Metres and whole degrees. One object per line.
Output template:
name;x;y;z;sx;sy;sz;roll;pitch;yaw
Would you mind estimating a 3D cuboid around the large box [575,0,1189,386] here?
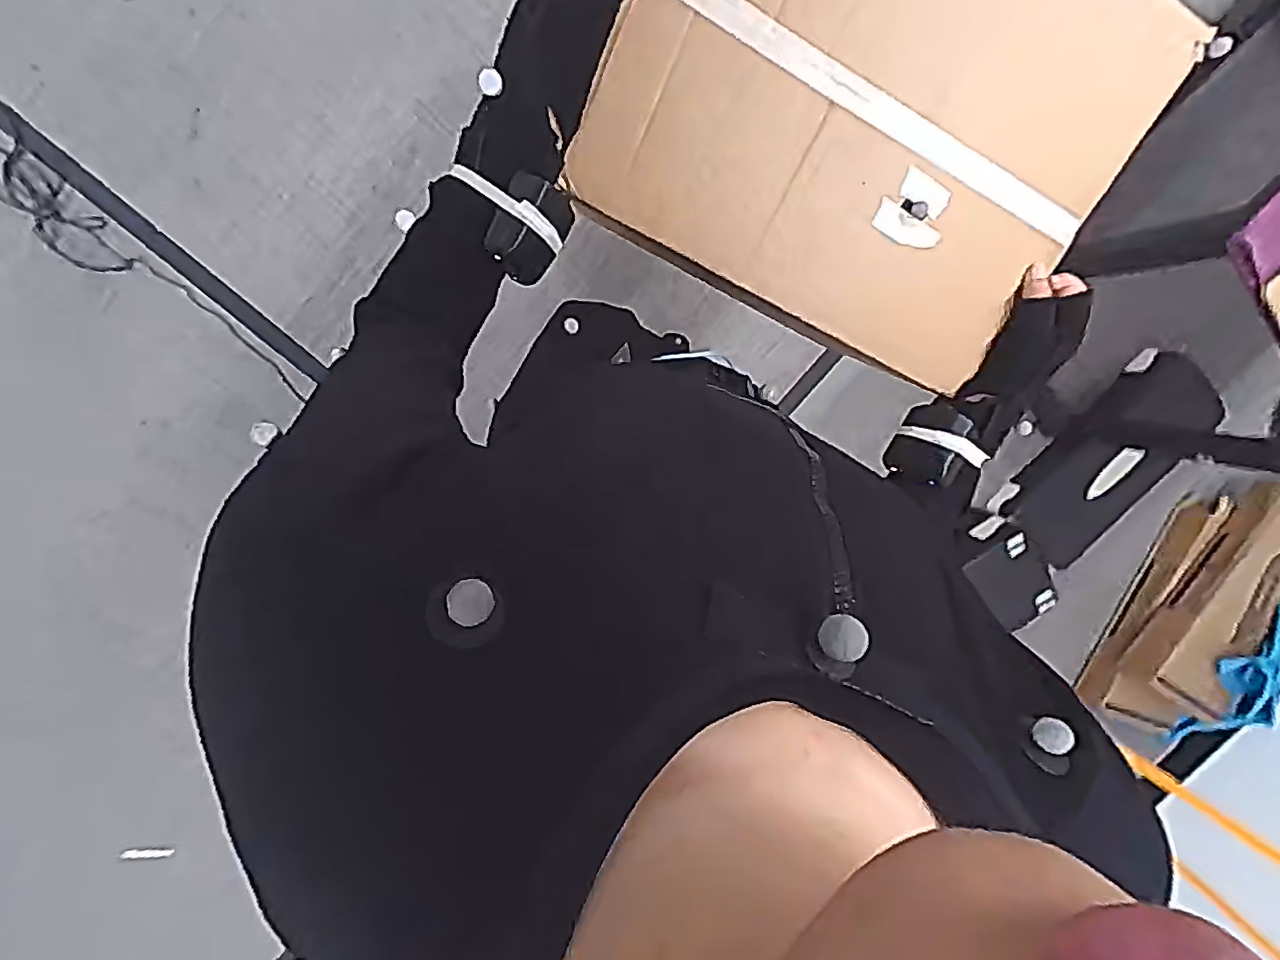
large box;0.176;-0.347;0.563;0.408;0.320;0.320;23;111;-13
